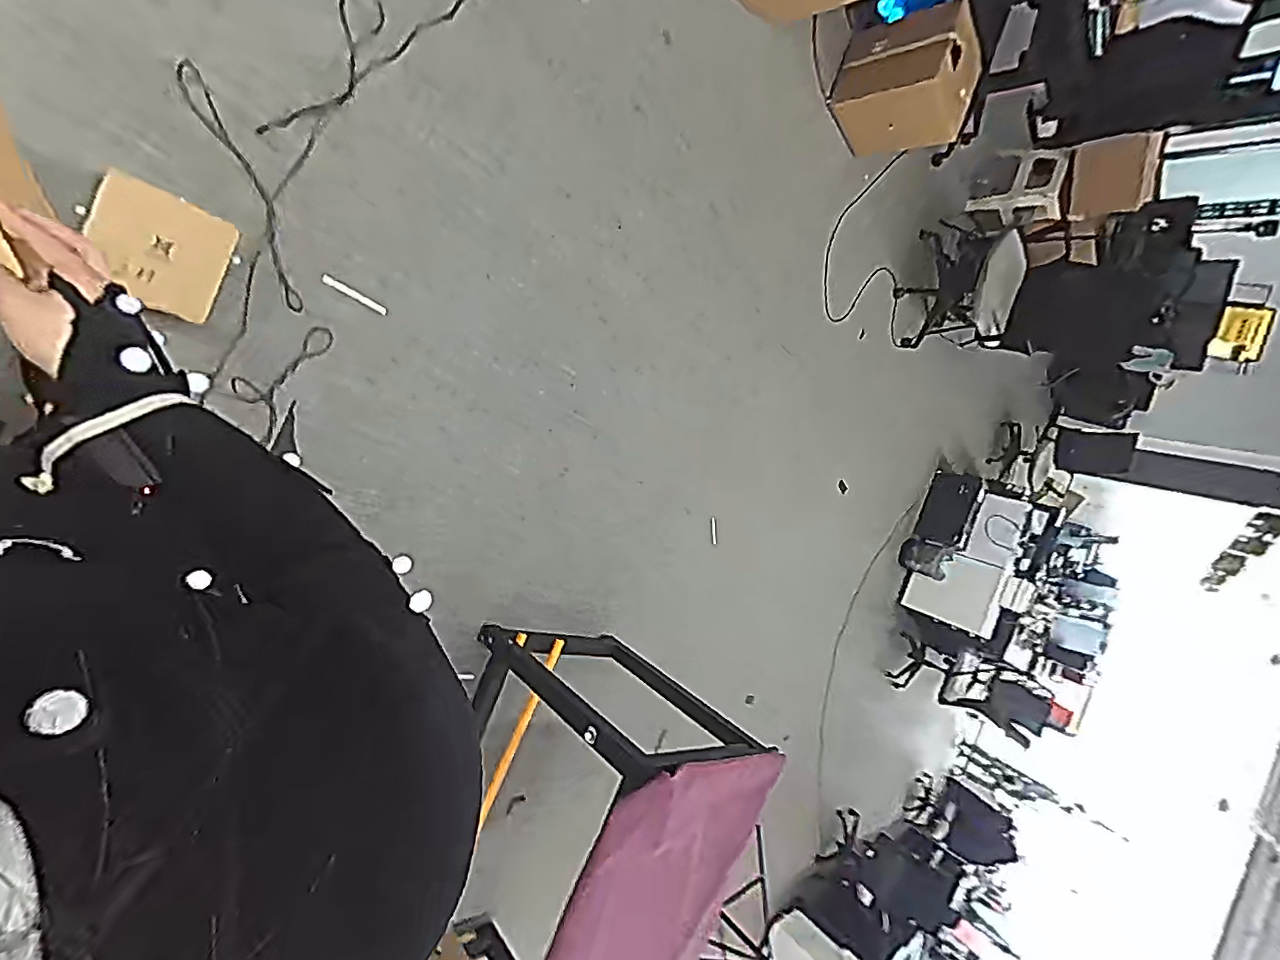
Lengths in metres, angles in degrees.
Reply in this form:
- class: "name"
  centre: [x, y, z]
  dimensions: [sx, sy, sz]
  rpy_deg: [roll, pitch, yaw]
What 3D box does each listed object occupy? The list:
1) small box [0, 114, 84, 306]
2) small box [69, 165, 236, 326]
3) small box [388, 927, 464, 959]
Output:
- class: "small box"
  centre: [-0.527, -0.199, 0.352]
  dimensions: [0.168, 0.176, 0.179]
  rpy_deg: [-23, 115, -28]
- class: "small box"
  centre: [-0.802, -0.372, 0.885]
  dimensions: [0.168, 0.176, 0.179]
  rpy_deg: [22, 89, -46]
- class: "small box"
  centre: [-0.633, 1.443, 1.549]
  dimensions: [0.179, 0.176, 0.168]
  rpy_deg: [27, 84, -47]
